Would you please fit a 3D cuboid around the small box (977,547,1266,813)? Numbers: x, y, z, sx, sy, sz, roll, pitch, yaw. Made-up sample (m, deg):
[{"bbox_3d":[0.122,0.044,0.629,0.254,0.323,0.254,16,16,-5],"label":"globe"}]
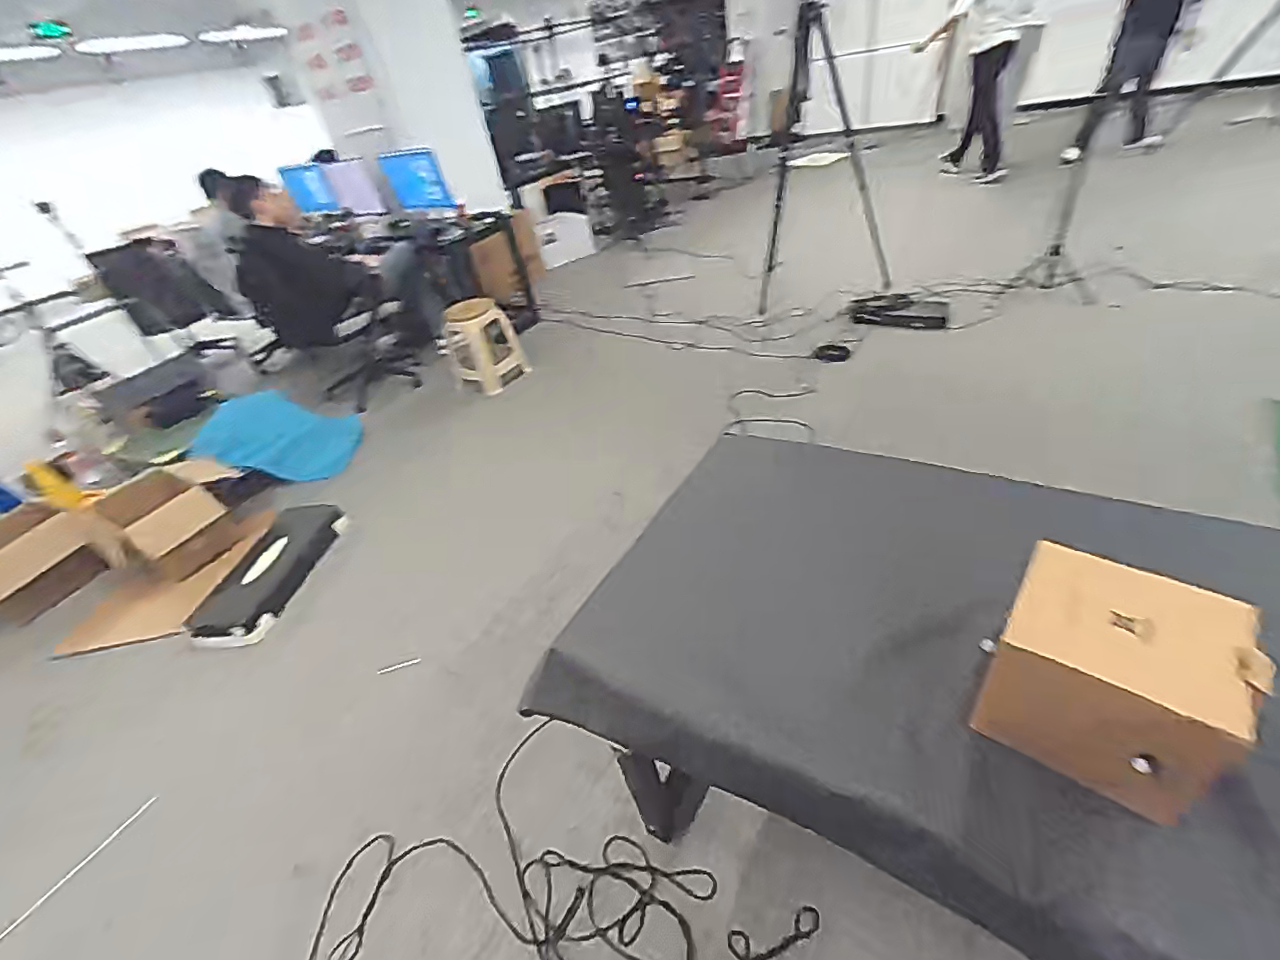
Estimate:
[{"bbox_3d":[0.486,0.206,0.564,0.179,0.176,0.168,21,47,37],"label":"small box"}]
